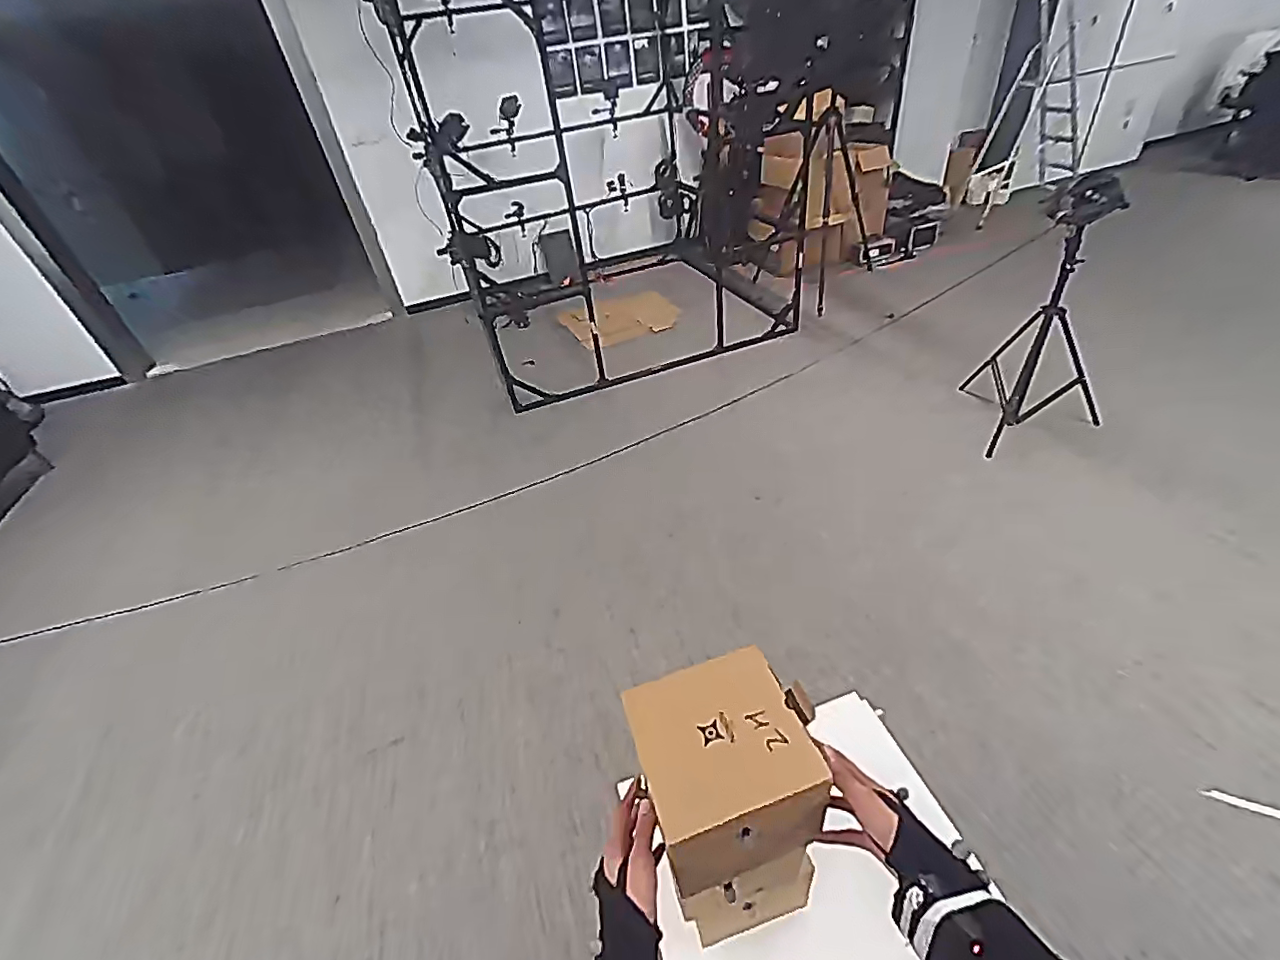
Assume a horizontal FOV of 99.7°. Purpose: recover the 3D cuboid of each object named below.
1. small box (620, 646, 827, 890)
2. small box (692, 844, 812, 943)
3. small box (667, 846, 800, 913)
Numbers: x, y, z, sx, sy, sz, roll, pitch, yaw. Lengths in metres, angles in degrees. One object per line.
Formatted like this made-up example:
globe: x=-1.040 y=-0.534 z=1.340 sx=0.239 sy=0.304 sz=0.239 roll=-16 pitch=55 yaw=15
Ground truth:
small box: x=0.092 y=0.331 z=0.623 sx=0.179 sy=0.176 sz=0.168 roll=-16 pitch=39 yaw=-9
small box: x=0.145 y=0.573 z=0.837 sx=0.179 sy=0.176 sz=0.168 roll=-15 pitch=39 yaw=-9
small box: x=0.108 y=0.451 z=0.735 sx=0.168 sy=0.176 sz=0.179 roll=-15 pitch=38 yaw=-7
